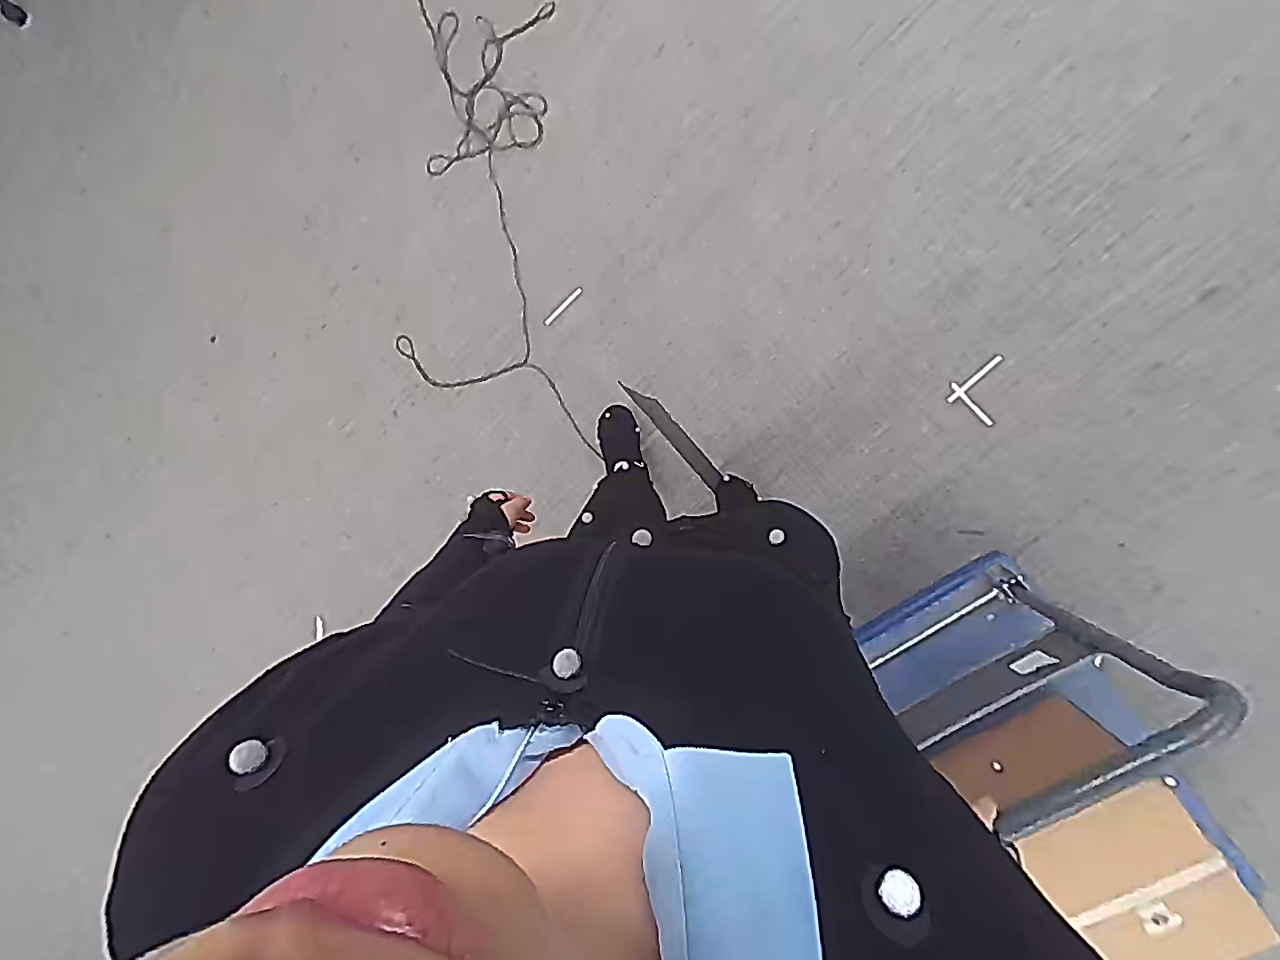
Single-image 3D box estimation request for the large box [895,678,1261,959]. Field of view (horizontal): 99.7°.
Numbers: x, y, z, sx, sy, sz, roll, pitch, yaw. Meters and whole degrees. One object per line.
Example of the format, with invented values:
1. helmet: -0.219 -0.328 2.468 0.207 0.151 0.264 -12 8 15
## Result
1. large box: 0.808 0.678 1.080 0.408 0.320 0.320 -36 87 11
